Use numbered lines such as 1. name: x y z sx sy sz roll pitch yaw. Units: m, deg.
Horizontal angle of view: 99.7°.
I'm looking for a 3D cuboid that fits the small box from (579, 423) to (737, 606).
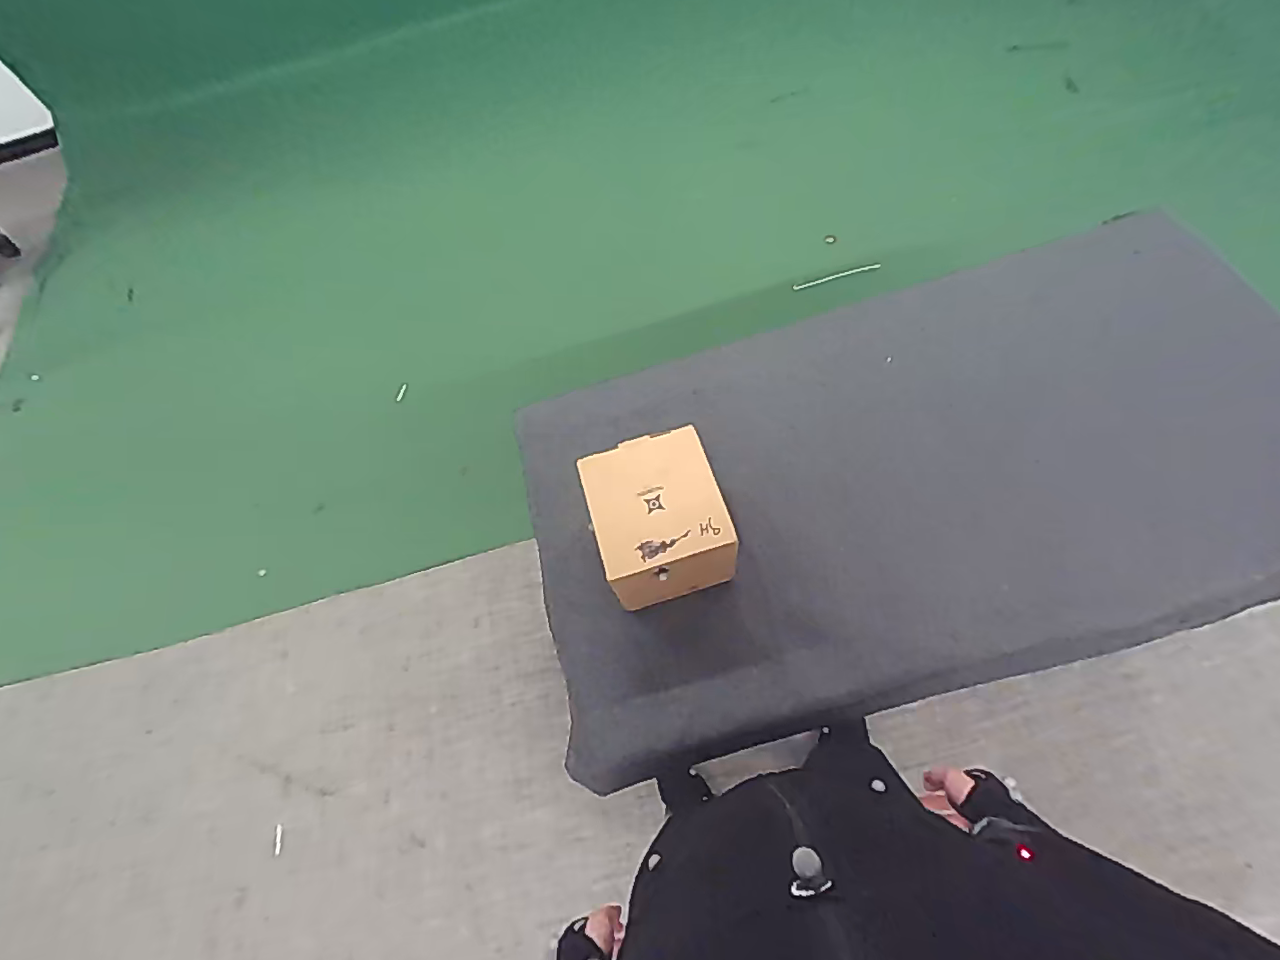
1. small box: 0.026 0.054 0.751 0.168 0.176 0.179 -18 63 0
